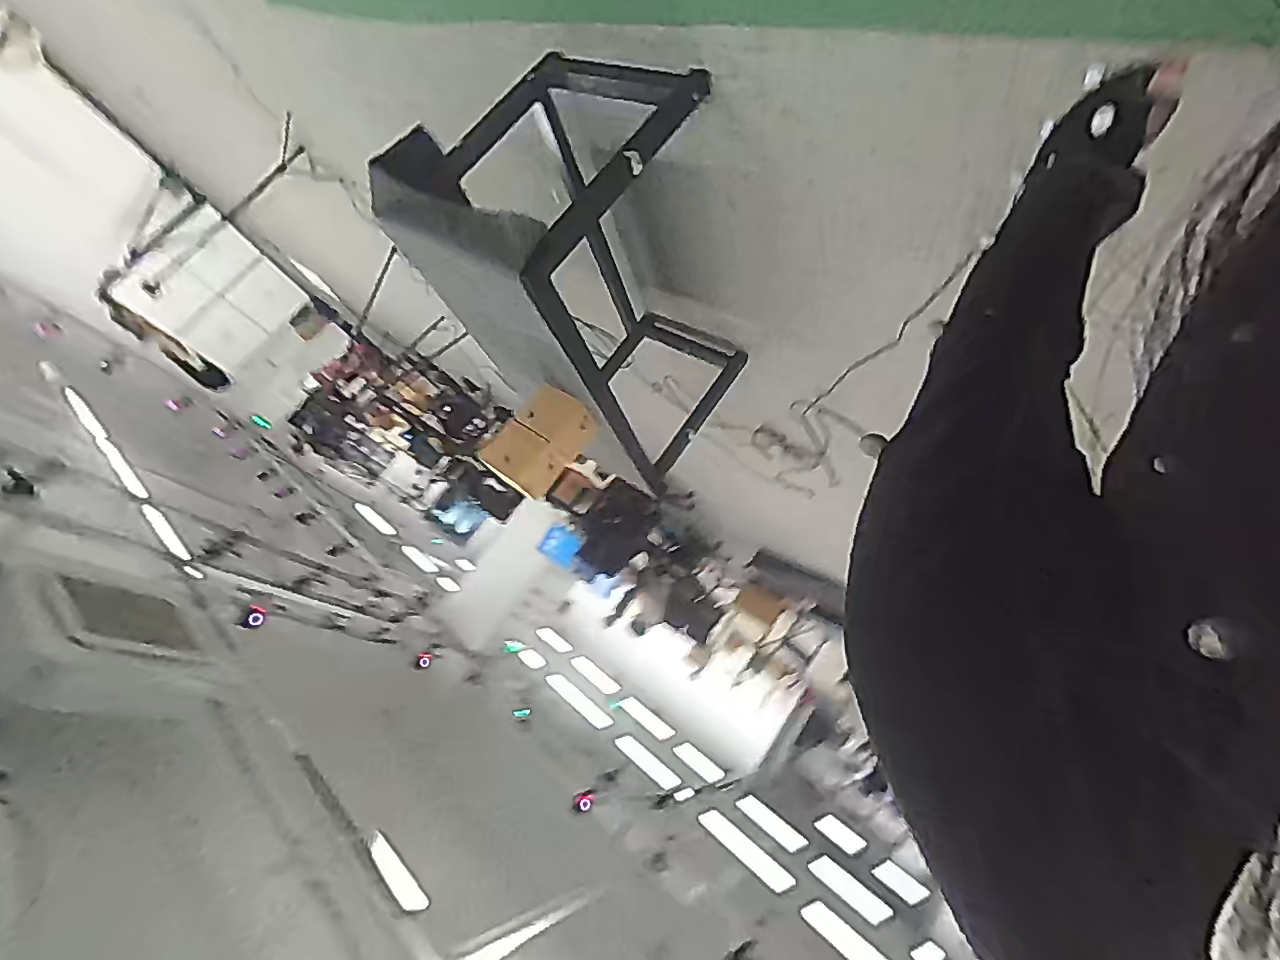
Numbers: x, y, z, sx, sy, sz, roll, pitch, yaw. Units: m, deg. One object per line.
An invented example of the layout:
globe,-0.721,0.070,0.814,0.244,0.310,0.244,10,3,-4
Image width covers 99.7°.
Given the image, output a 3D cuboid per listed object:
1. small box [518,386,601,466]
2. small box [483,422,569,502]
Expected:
small box,-0.259,-0.184,1.780,0.179,0.176,0.168,32,167,27
small box,-0.364,-0.064,1.748,0.179,0.176,0.168,31,166,27
